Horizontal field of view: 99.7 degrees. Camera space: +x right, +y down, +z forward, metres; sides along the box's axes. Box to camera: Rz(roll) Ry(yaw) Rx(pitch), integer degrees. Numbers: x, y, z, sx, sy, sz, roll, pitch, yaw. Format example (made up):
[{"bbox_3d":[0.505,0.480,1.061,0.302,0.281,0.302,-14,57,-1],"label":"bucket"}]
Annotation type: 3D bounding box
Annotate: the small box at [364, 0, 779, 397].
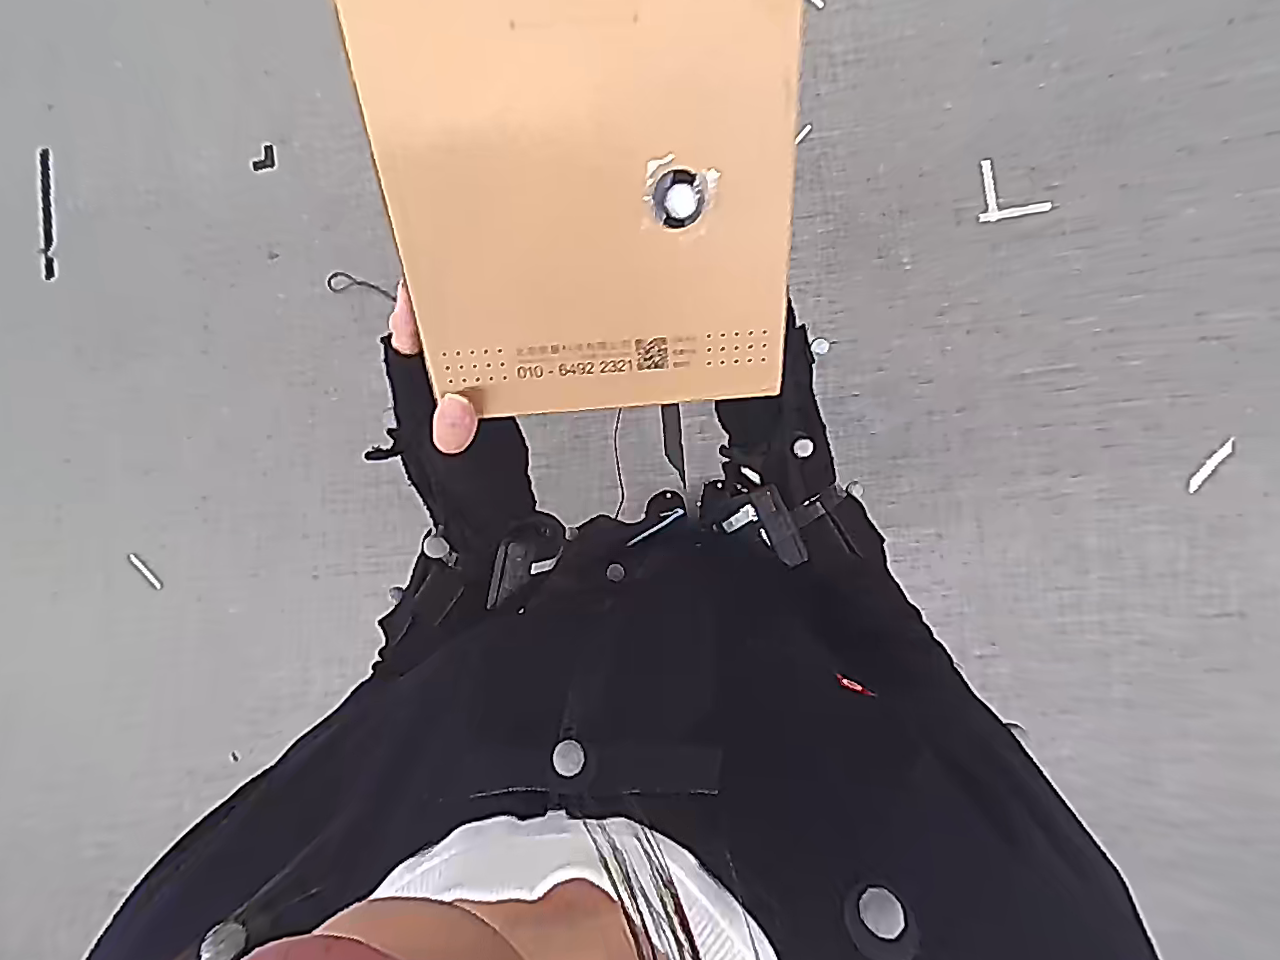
[{"bbox_3d":[-0.021,-0.152,0.316,0.168,0.179,0.176,-4,119,1],"label":"small box"}]
